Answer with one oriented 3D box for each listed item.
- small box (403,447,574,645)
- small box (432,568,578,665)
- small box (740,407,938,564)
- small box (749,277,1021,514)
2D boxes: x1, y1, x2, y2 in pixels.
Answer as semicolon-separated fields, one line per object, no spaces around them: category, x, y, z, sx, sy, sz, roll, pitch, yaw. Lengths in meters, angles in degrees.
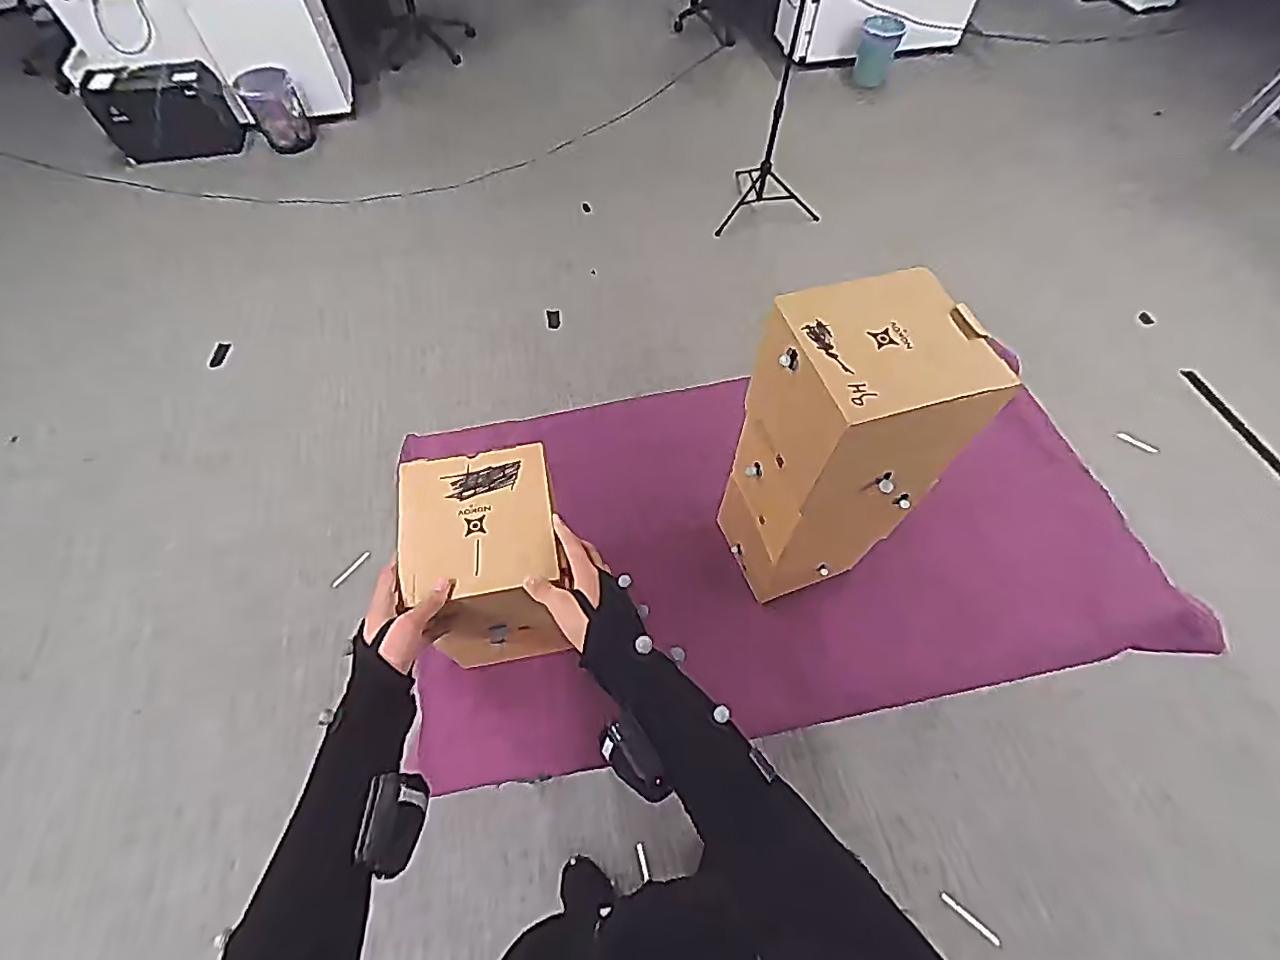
small box;-0.175;0.085;0.660;0.168;0.176;0.179;-9;61;-7
small box;-0.193;0.165;0.803;0.179;0.176;0.168;-8;60;-7
small box;0.244;-0.005;0.721;0.179;0.176;0.168;-13;61;-8
small box;0.237;-0.084;0.577;0.179;0.176;0.168;-13;60;-9
